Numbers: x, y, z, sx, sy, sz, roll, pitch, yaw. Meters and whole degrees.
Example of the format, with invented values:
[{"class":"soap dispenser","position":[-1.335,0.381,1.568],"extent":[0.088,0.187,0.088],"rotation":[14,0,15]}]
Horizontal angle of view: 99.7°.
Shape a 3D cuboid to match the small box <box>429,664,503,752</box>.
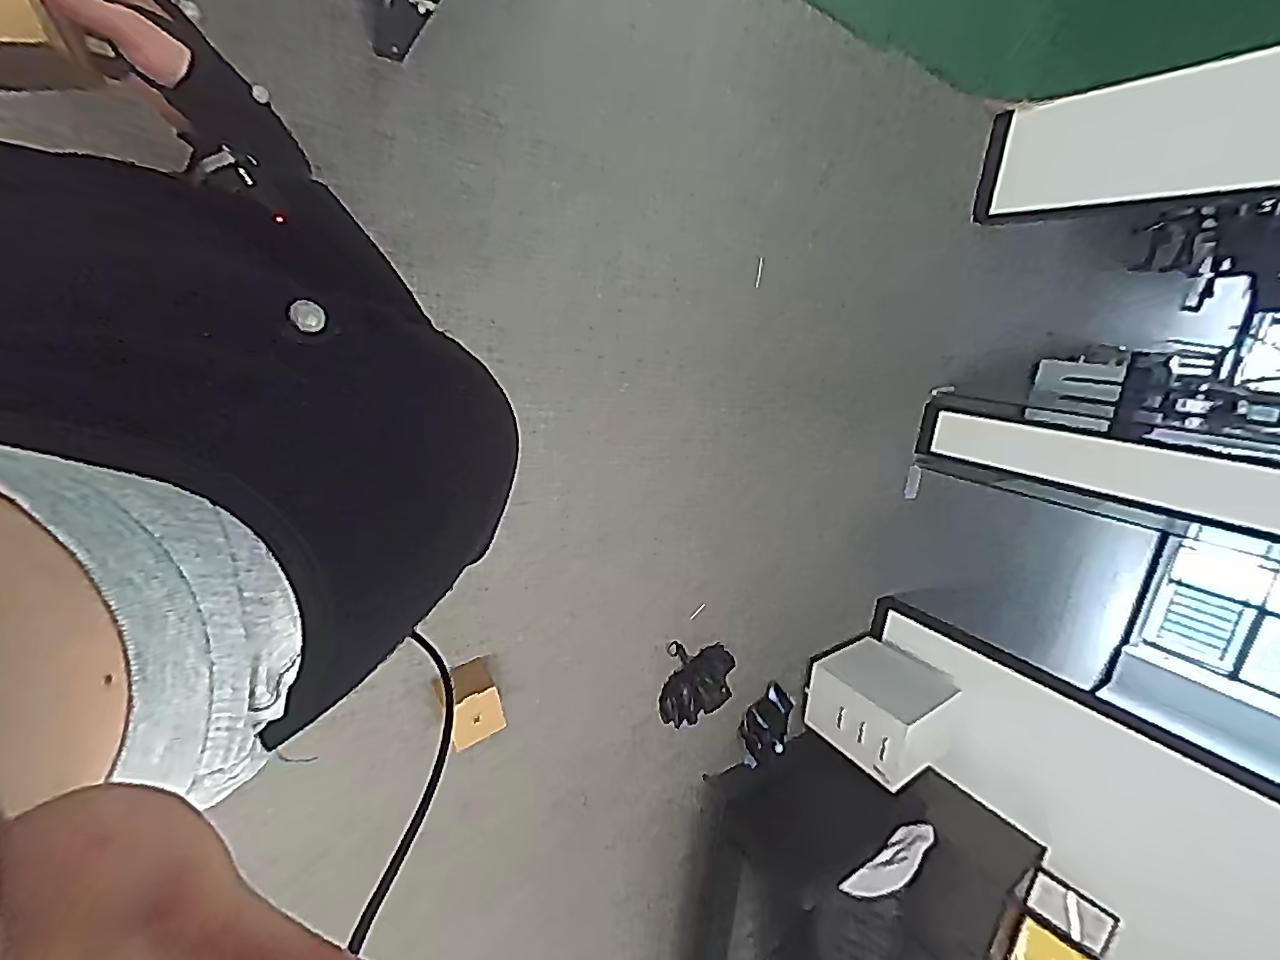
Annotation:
[{"class":"small box","position":[-0.564,0.722,1.743],"extent":[0.168,0.176,0.179],"rotation":[-19,118,-28]}]
